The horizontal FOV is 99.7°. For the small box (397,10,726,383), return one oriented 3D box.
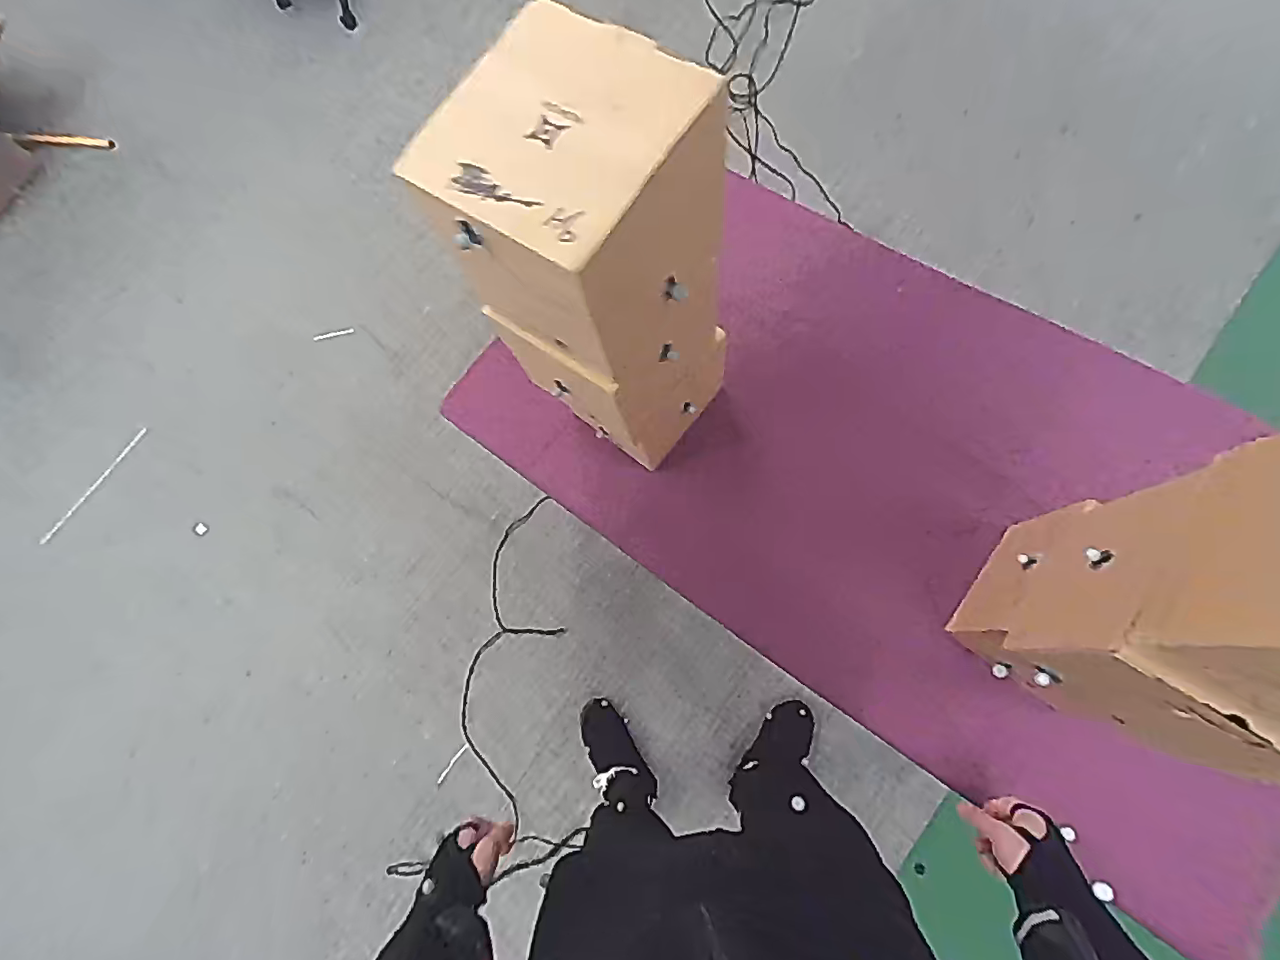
[{"bbox_3d":[-0.048,-0.215,0.445,0.168,0.176,0.179,34,82,14],"label":"small box"}]

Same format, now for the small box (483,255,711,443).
[{"bbox_3d":[-0.033,-0.167,0.602,0.168,0.176,0.179,35,82,14],"label":"small box"}]

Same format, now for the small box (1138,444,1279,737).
[{"bbox_3d":[0.451,0.076,0.309,0.168,0.176,0.179,33,79,16],"label":"small box"}]

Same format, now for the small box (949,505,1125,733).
[{"bbox_3d":[0.497,0.158,0.621,0.168,0.176,0.179,36,82,16],"label":"small box"}]

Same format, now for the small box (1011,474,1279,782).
[{"bbox_3d":[0.464,0.128,0.462,0.168,0.176,0.179,34,80,16],"label":"small box"}]
